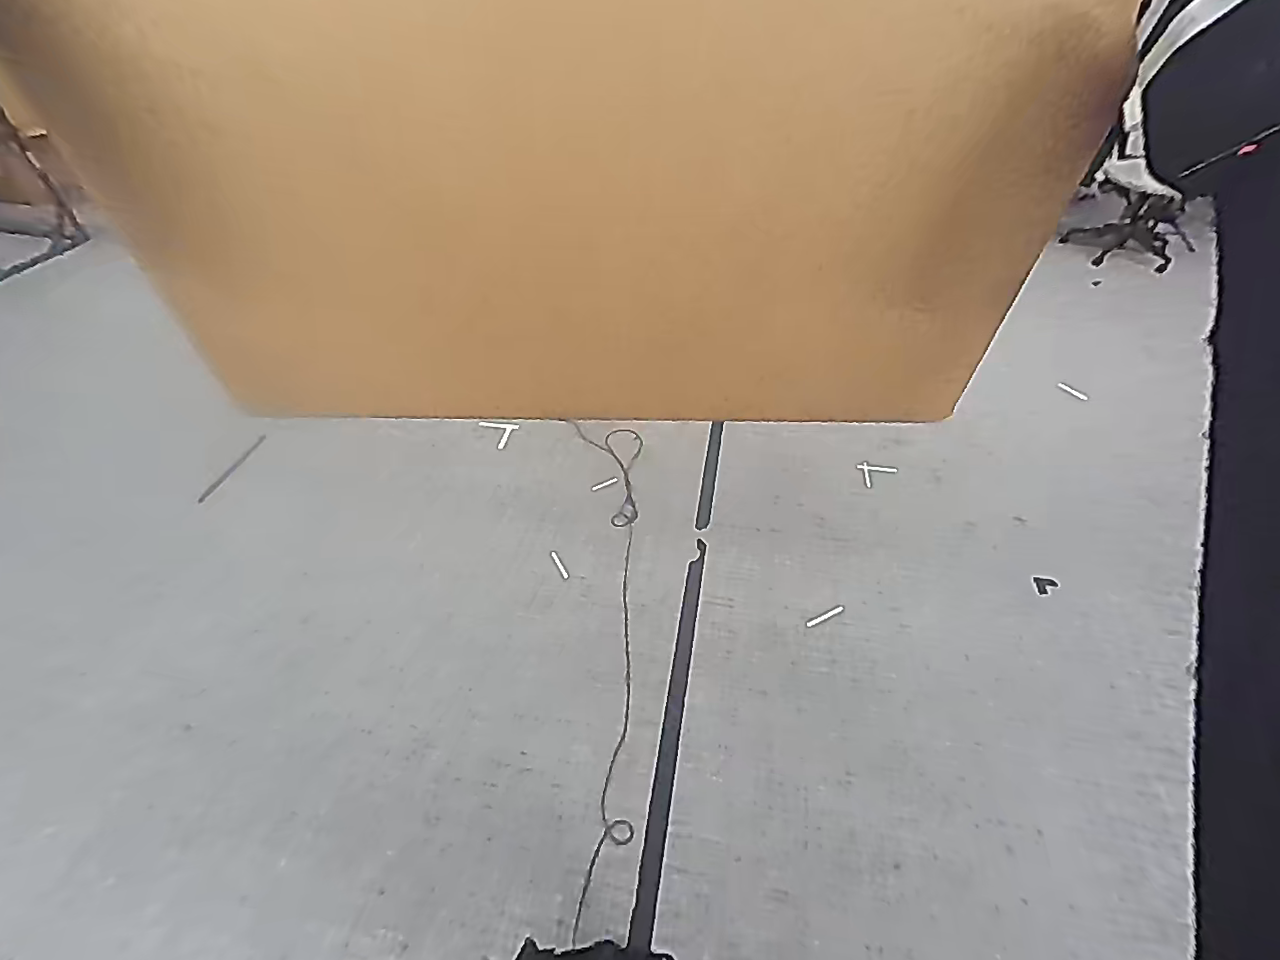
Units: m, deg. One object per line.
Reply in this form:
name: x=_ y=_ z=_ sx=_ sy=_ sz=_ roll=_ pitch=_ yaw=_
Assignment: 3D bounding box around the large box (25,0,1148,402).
large box: x=-0.020 y=-0.256 z=0.308 sx=0.408 sy=0.320 sz=0.320 roll=1 pitch=47 yaw=-1
